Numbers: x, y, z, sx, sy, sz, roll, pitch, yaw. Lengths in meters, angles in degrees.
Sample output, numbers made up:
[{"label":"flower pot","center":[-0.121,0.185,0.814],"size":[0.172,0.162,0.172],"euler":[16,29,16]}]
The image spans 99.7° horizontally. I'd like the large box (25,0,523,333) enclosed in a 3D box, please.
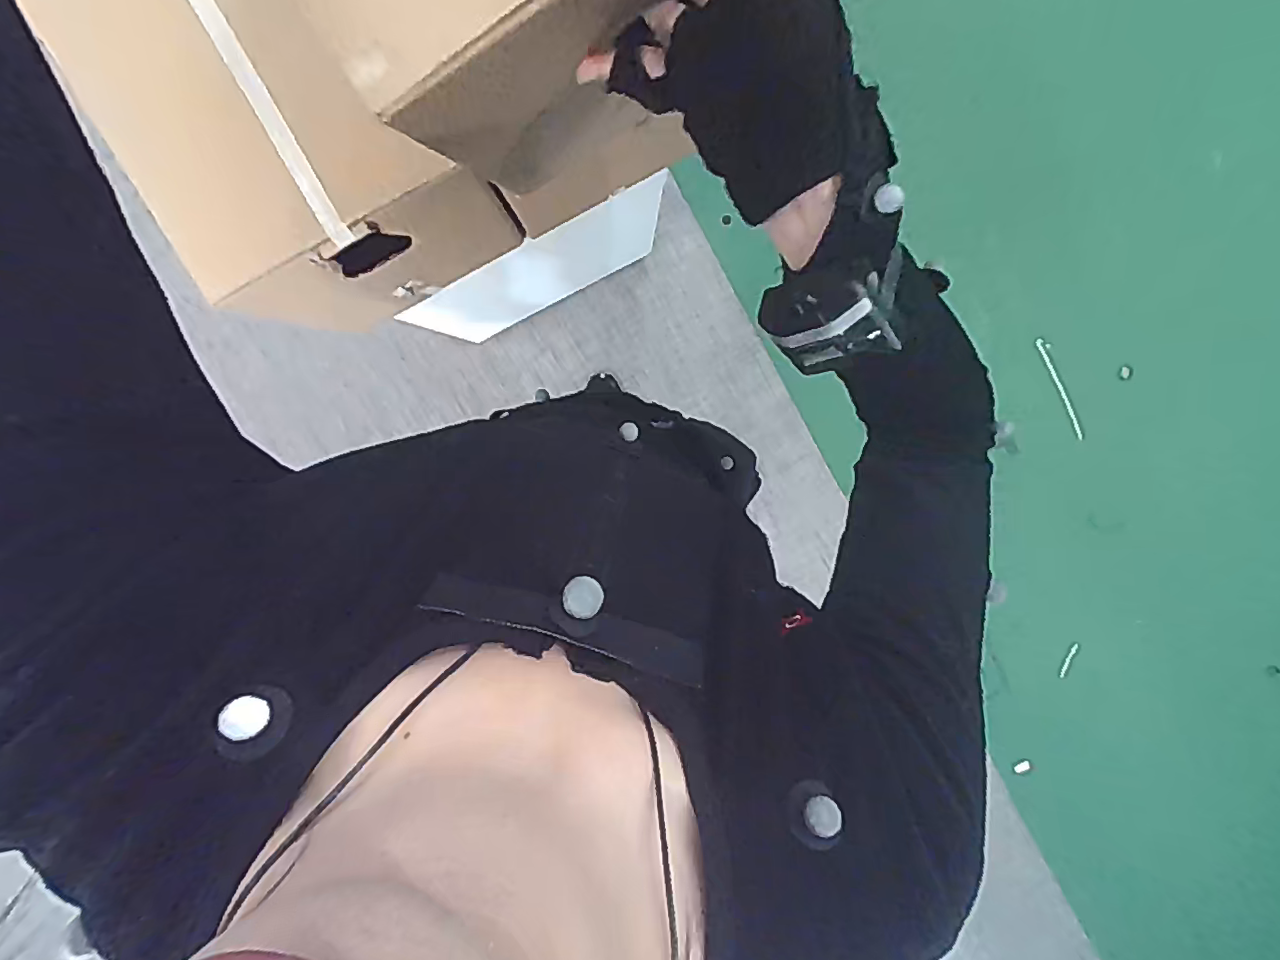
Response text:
[{"label":"large box","center":[-0.401,-0.449,0.676],"size":[0.320,0.320,0.408],"euler":[-28,98,3]}]
